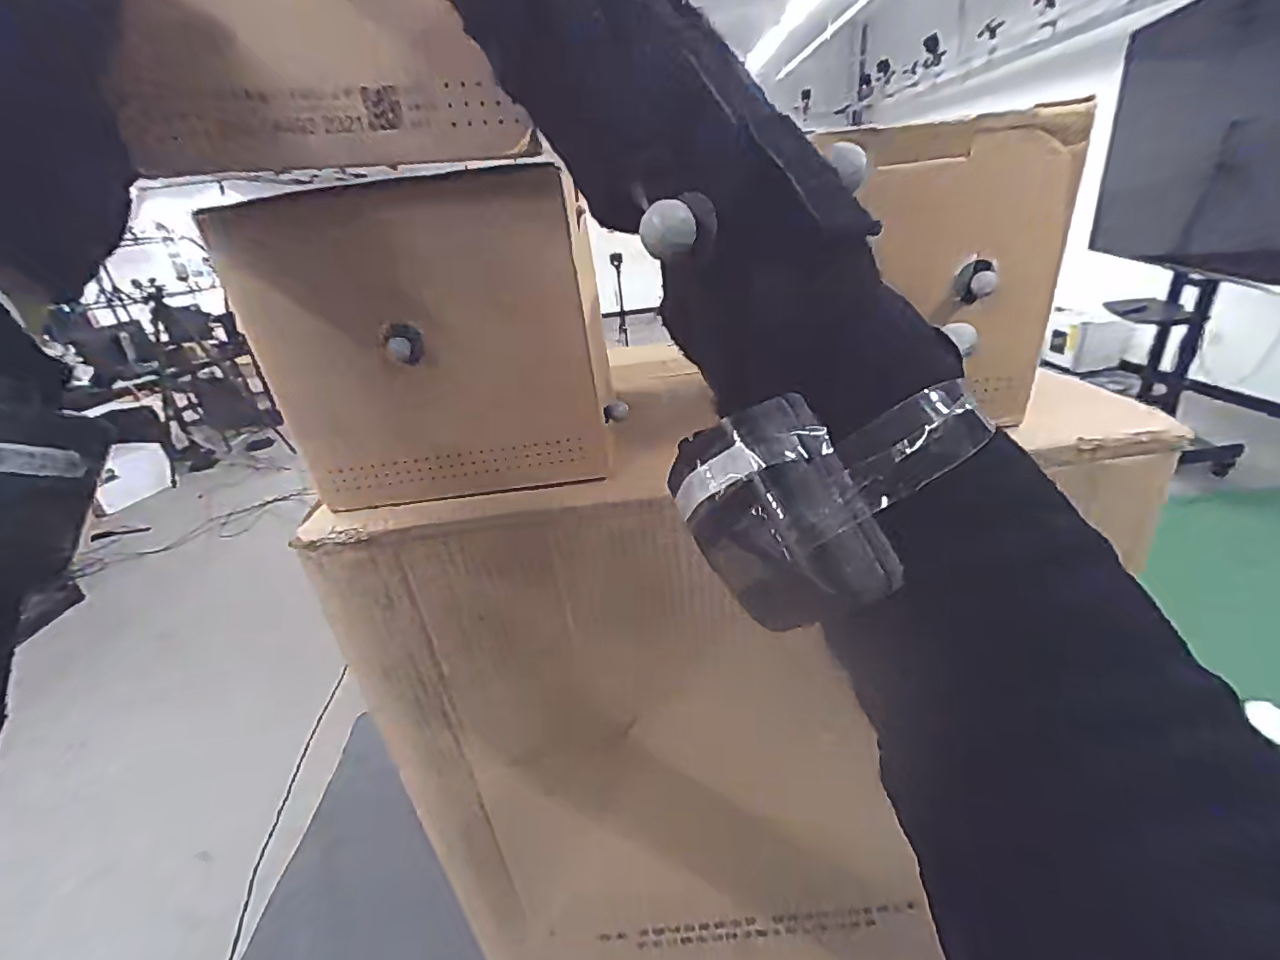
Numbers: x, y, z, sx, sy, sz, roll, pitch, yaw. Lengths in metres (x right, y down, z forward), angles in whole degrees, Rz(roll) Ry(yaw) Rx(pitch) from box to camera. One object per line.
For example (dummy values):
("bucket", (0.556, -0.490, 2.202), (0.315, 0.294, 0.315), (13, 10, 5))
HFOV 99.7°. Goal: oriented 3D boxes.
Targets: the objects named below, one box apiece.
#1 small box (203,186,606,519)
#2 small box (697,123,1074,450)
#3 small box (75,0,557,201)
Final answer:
("small box", (-0.116, -0.092, 0.359), (0.179, 0.176, 0.168), (-7, 28, -2))
("small box", (0.133, -0.125, 0.369), (0.168, 0.176, 0.179), (-5, 27, 0))
("small box", (-0.133, -0.235, 0.257), (0.168, 0.176, 0.179), (-5, 34, -3))
